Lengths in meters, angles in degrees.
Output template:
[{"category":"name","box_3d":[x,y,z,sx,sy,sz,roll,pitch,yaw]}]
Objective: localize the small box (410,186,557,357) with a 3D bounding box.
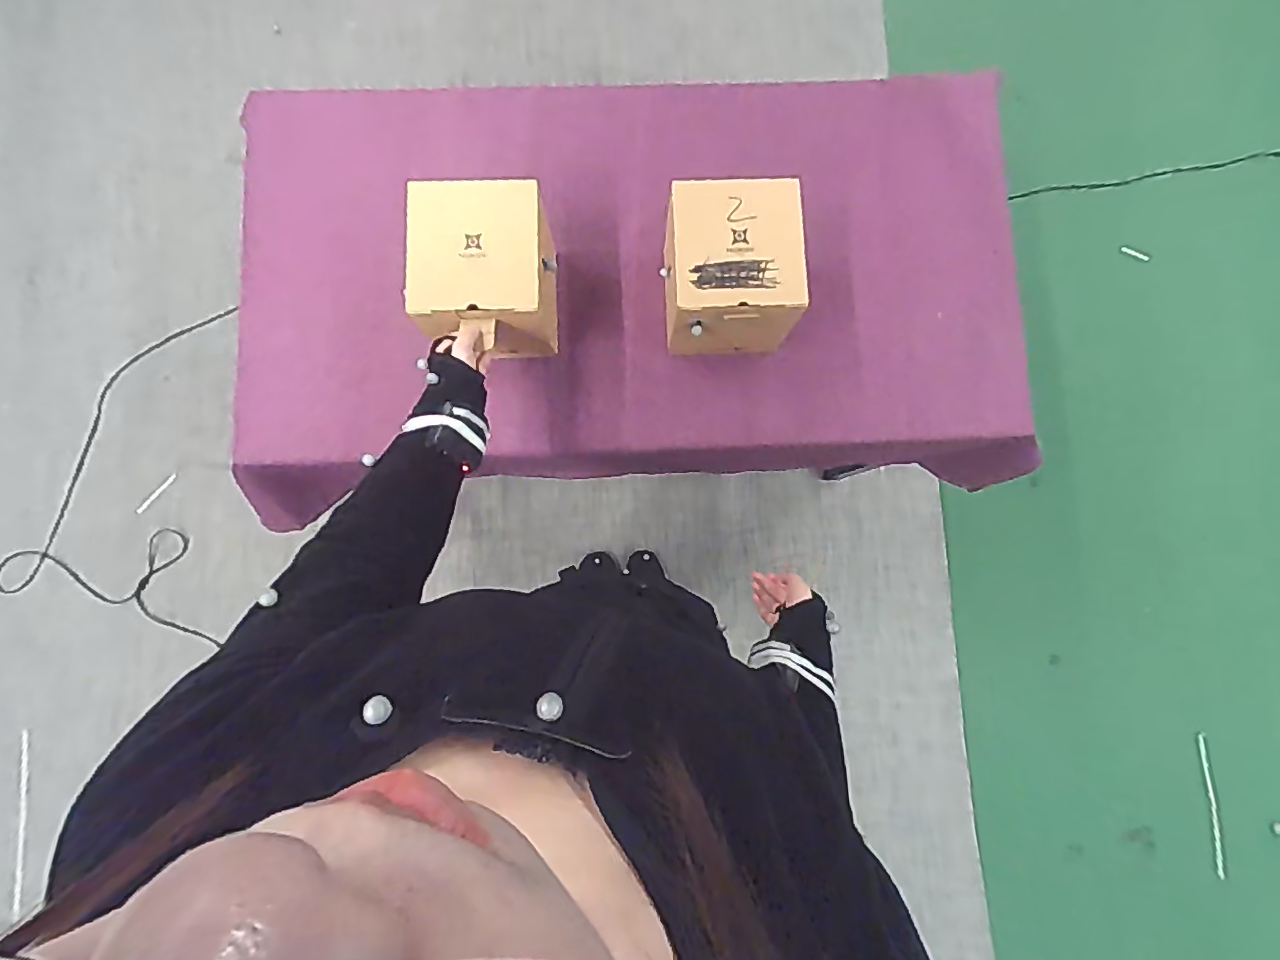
[{"category":"small box","box_3d":[-0.212,-0.287,0.772,0.168,0.176,0.179,-2,84,-1]}]
